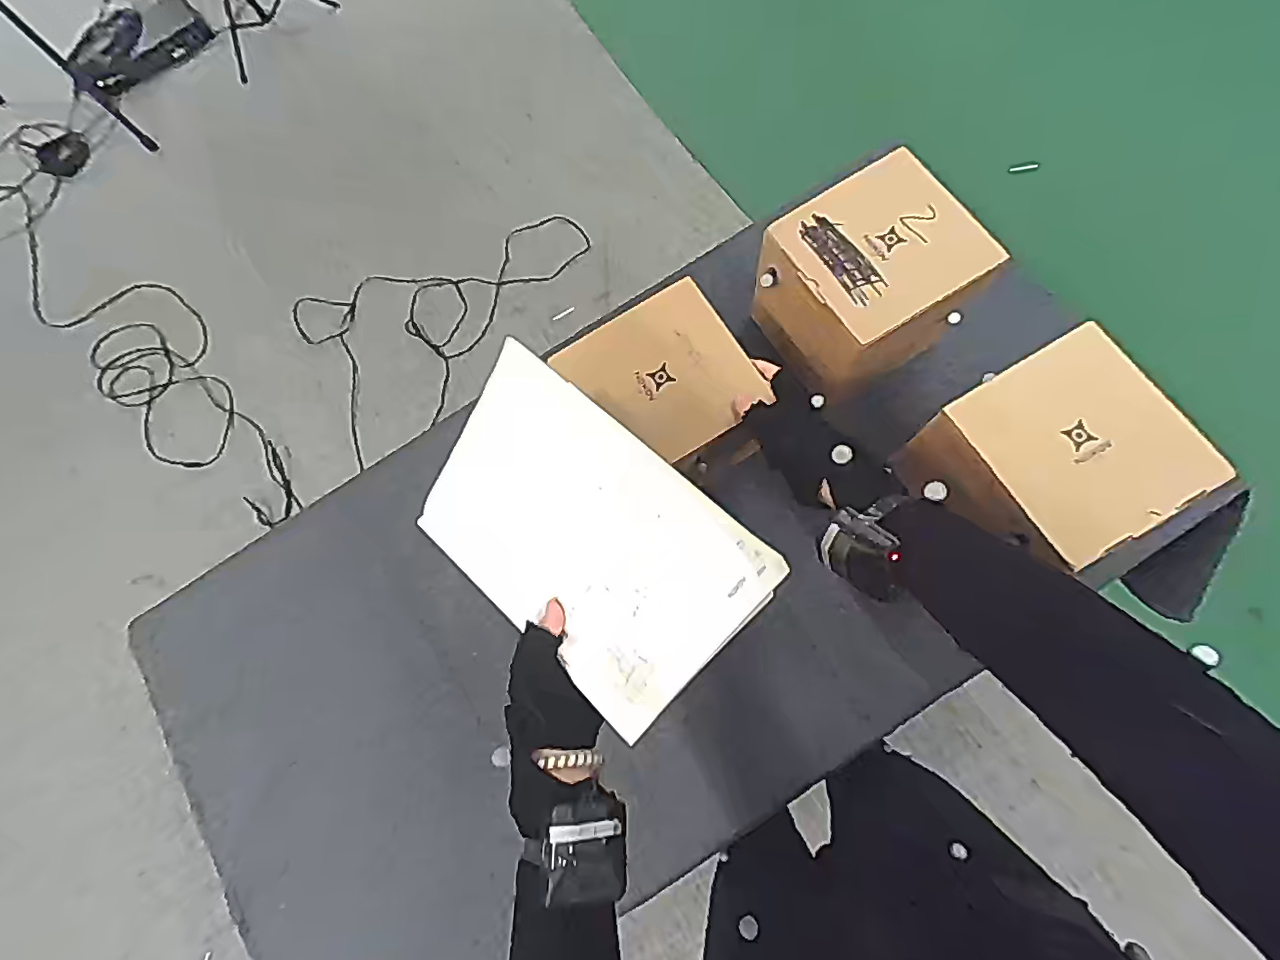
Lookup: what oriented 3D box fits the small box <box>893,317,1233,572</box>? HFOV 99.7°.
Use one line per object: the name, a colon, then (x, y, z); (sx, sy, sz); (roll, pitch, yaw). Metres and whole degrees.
small box: (0.396, -0.022, 0.551); (0.168, 0.176, 0.179); (-30, 75, -2)
